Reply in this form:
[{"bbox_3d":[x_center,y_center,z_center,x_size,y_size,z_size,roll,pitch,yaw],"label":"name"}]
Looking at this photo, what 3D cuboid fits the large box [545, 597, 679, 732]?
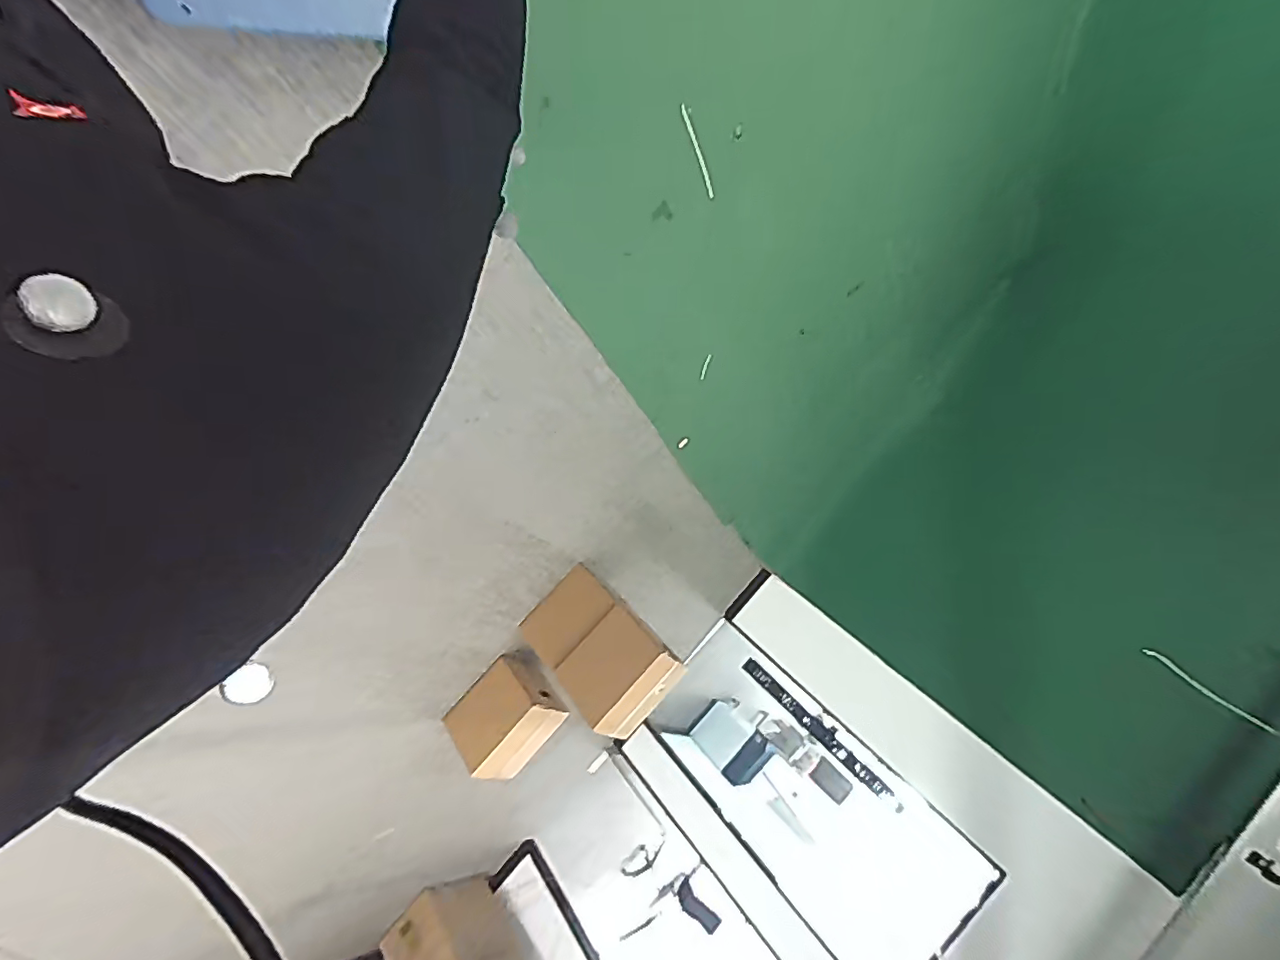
[{"bbox_3d":[-0.118,0.779,2.279,0.408,0.320,0.320,-46,142,-6],"label":"large box"}]
